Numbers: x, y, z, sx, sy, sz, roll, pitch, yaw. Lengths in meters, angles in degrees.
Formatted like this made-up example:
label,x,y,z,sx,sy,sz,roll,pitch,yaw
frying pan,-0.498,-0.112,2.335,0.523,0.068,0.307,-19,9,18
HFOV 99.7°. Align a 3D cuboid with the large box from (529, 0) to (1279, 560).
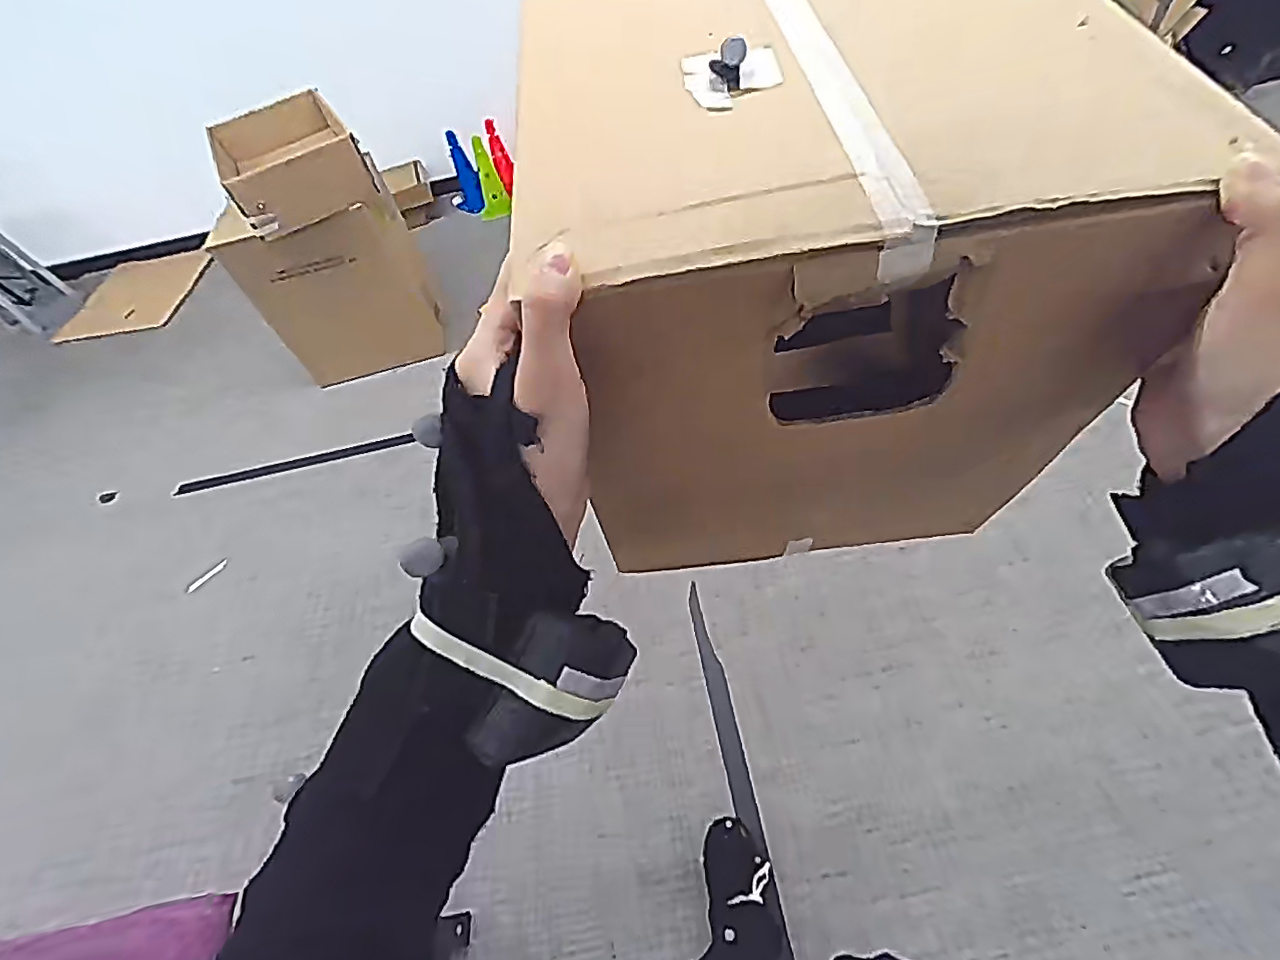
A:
label,x,y,z,sx,sy,sz,roll,pitch,yaw
large box,0.103,-0.190,0.443,0.320,0.320,0.408,-9,60,3
